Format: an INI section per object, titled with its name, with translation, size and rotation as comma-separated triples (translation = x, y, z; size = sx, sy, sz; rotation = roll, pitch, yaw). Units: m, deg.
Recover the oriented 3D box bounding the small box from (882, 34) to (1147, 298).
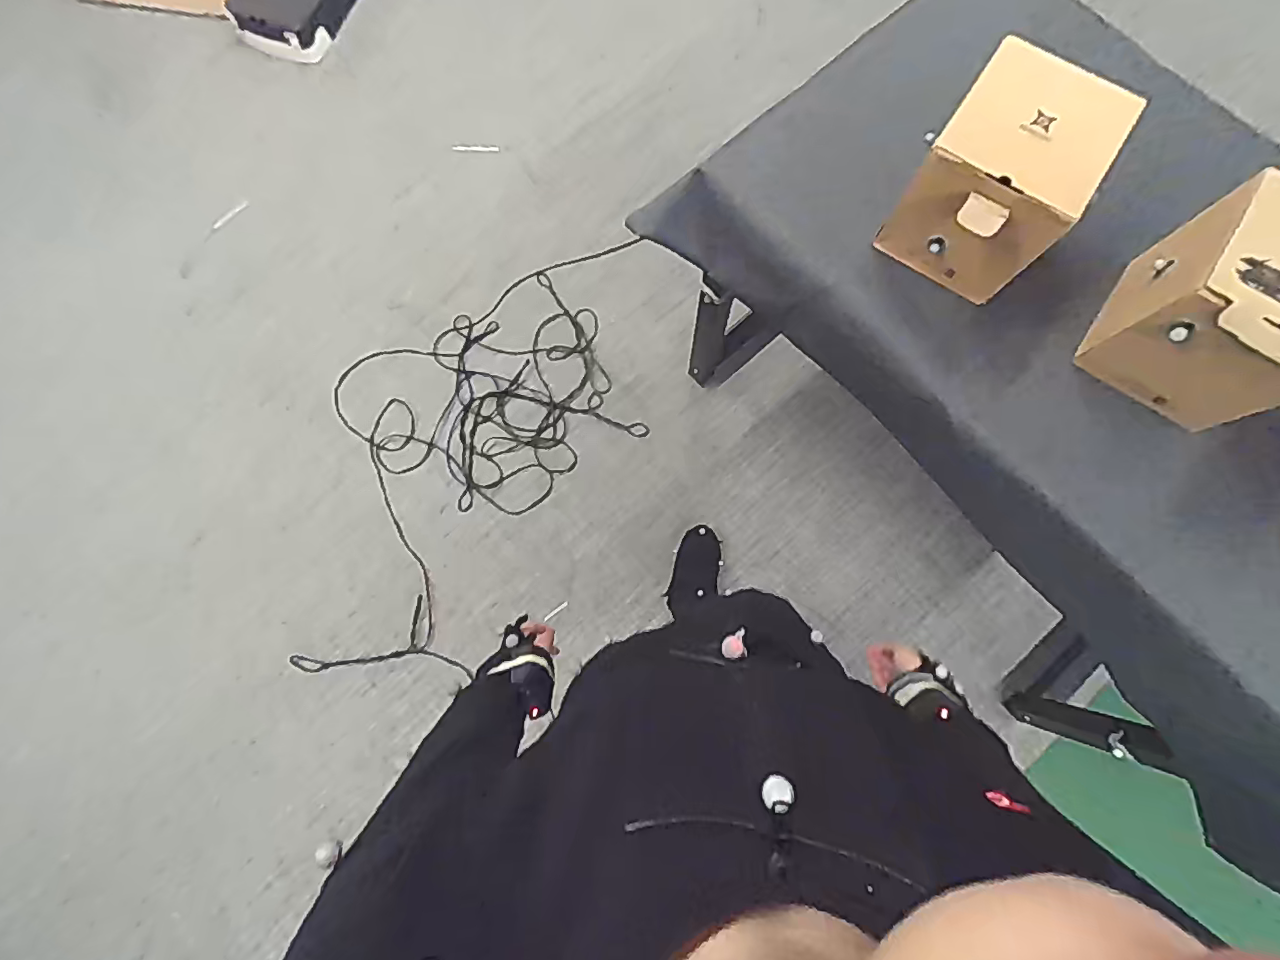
[small box]
translation = 0.426, -0.360, 0.648
size = 0.168, 0.176, 0.179
rotation = 33, 81, 7
